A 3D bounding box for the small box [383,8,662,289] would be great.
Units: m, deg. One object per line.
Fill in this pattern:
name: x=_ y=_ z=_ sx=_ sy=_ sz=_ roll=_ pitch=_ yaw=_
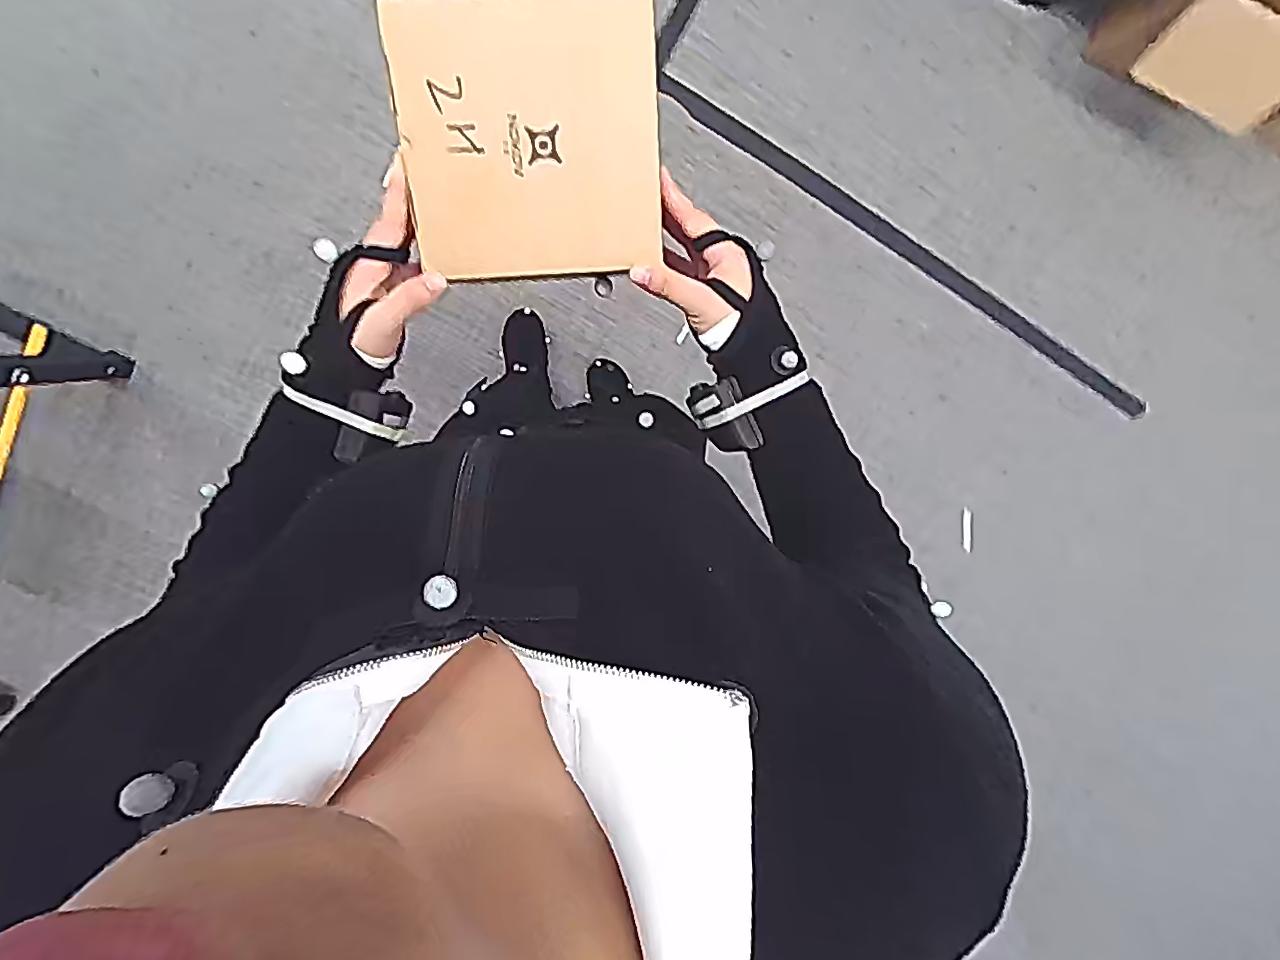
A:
small box: x=-0.081 y=-0.252 z=0.451 sx=0.179 sy=0.176 sz=0.168 roll=-5 pitch=108 yaw=-2
